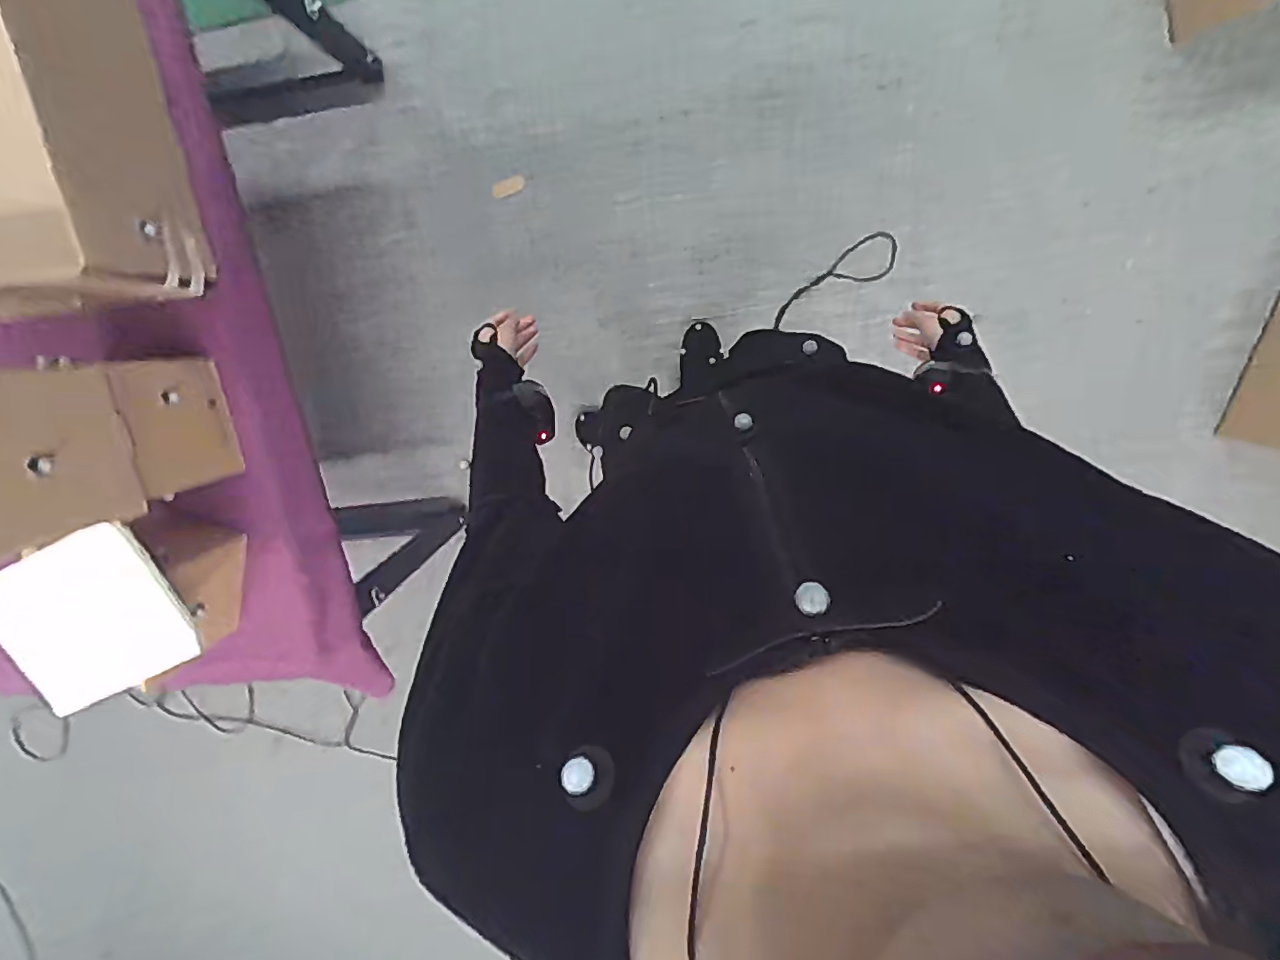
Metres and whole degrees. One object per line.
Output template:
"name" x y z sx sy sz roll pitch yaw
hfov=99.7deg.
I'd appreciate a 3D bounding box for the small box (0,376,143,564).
"small box" -0.685 -0.014 0.560 0.168 0.176 0.179 -4 104 6
